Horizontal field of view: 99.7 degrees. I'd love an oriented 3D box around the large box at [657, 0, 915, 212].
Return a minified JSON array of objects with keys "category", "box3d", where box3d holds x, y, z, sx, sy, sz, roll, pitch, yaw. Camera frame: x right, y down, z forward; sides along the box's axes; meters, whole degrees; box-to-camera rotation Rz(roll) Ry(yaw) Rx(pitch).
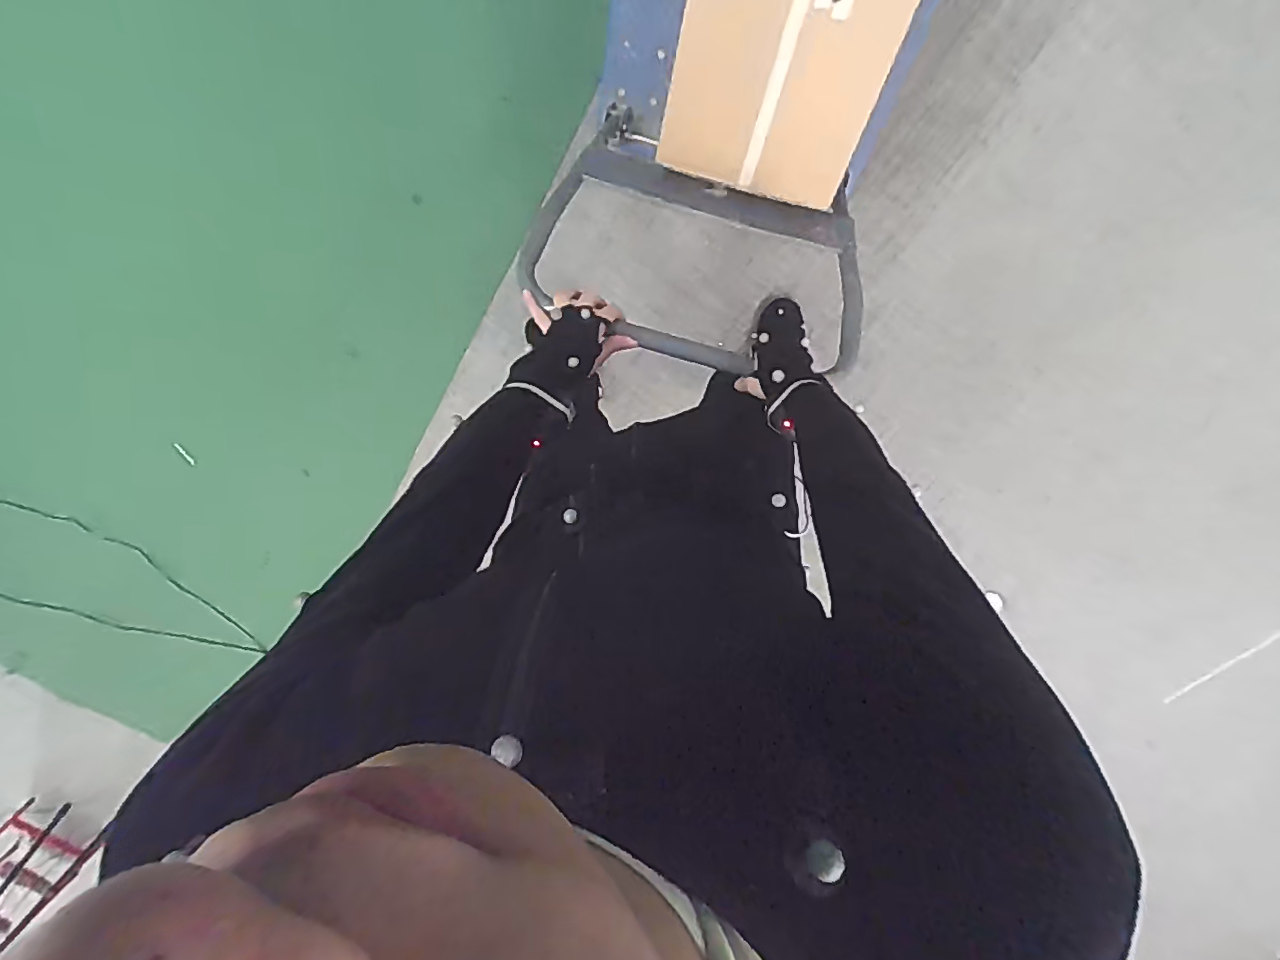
[{"category":"large box","box3d":[0.242,-0.744,0.917,0.320,0.320,0.408,16,135,-1]}]
